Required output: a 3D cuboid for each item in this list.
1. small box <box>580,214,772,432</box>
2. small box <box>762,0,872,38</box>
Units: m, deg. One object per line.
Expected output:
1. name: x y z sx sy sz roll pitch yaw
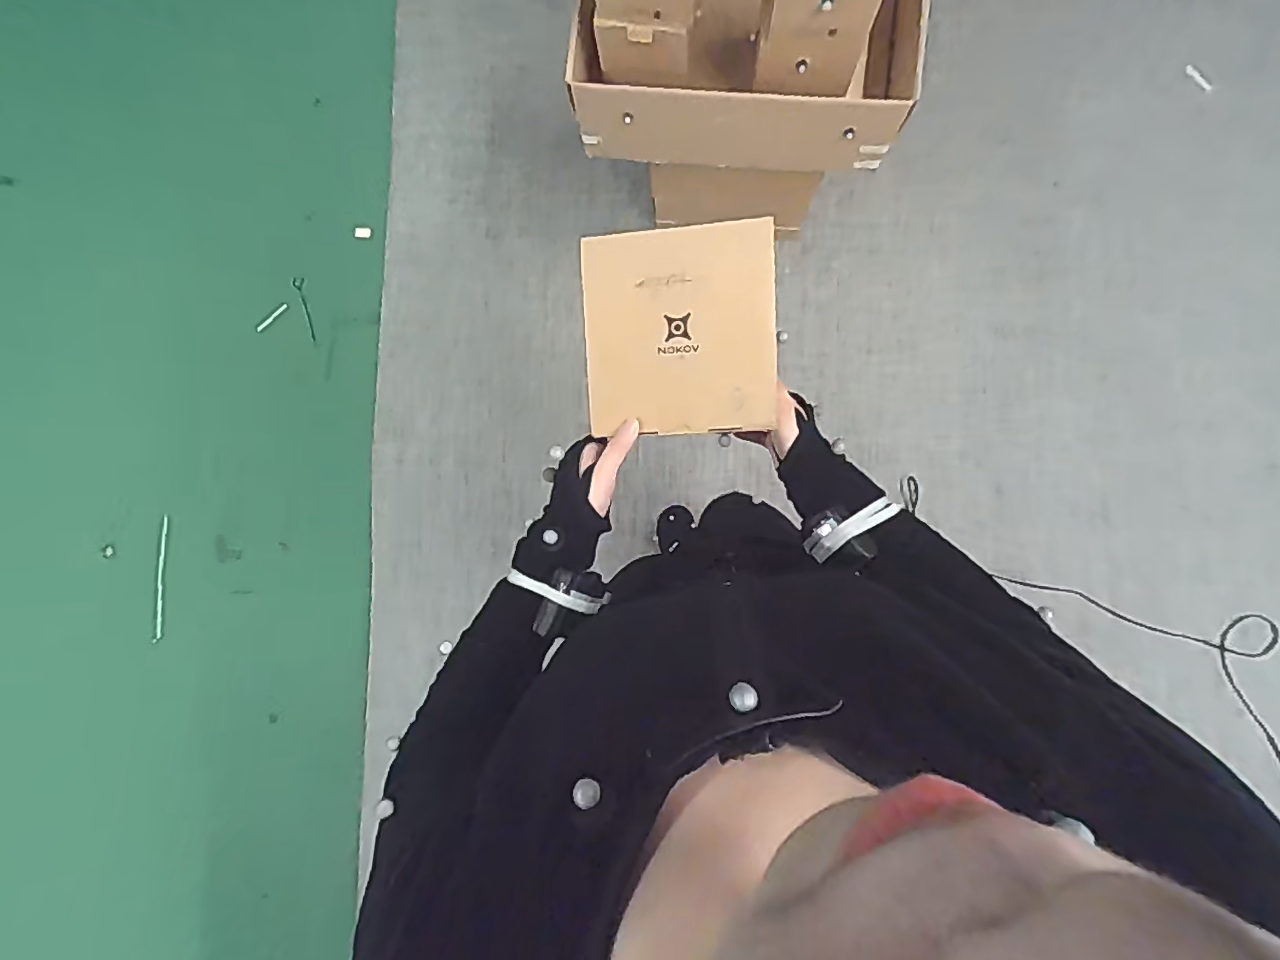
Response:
1. small box: 0.043 -0.141 0.542 0.168 0.176 0.179 -1 96 9
2. small box: 0.281 -0.819 0.824 0.168 0.176 0.179 3 88 5
